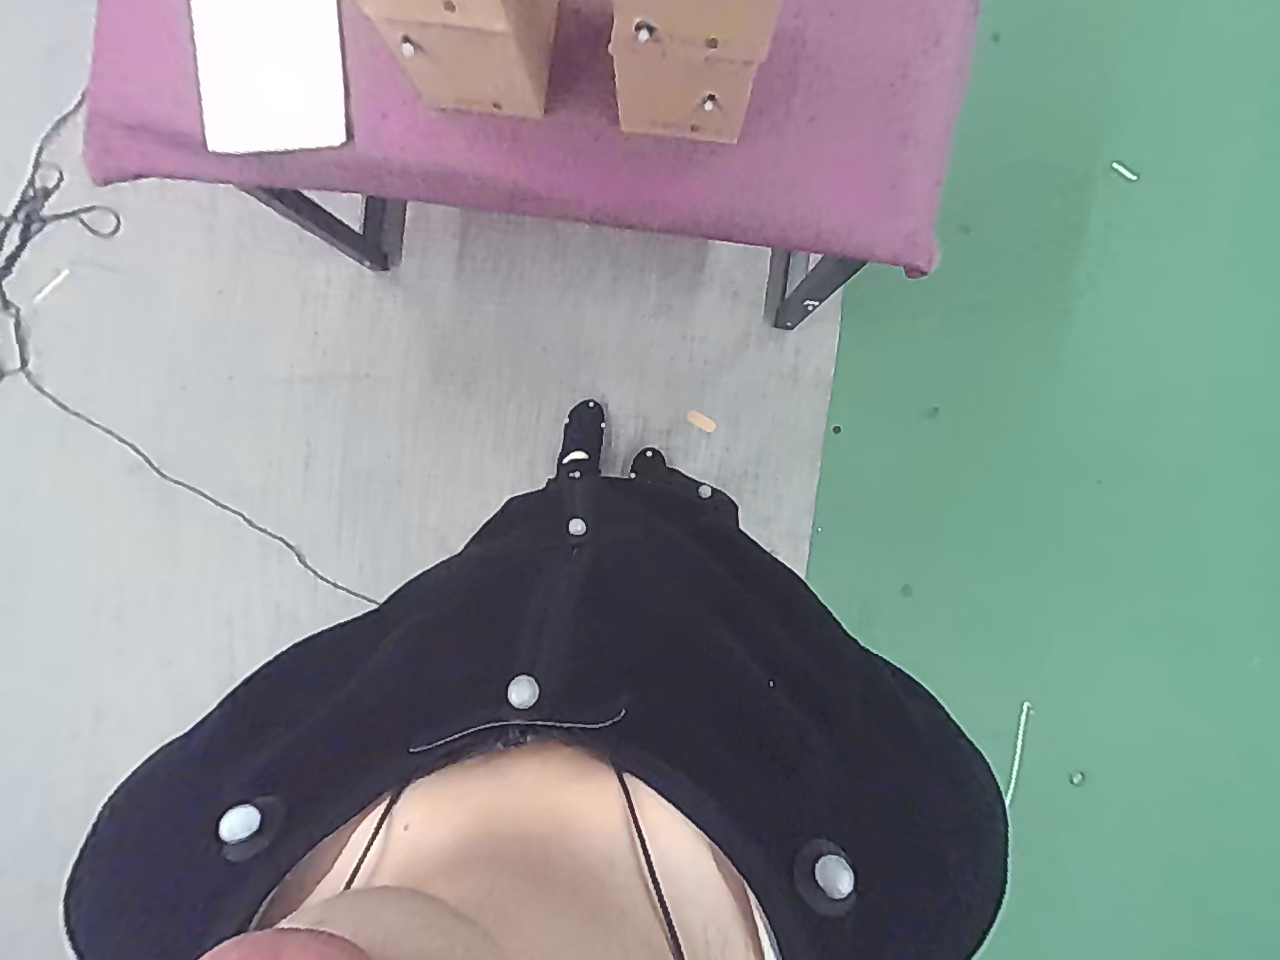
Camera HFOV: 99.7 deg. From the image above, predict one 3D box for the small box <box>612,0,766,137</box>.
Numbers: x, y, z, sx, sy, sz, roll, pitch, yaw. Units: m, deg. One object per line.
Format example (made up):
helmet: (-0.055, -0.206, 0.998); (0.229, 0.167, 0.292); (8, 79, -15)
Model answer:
small box: (0.063, -0.562, 0.667); (0.168, 0.176, 0.179); (8, 92, 0)

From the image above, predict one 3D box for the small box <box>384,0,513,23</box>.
small box: (-0.209, -0.585, 0.508); (0.168, 0.176, 0.179); (9, 92, 1)
